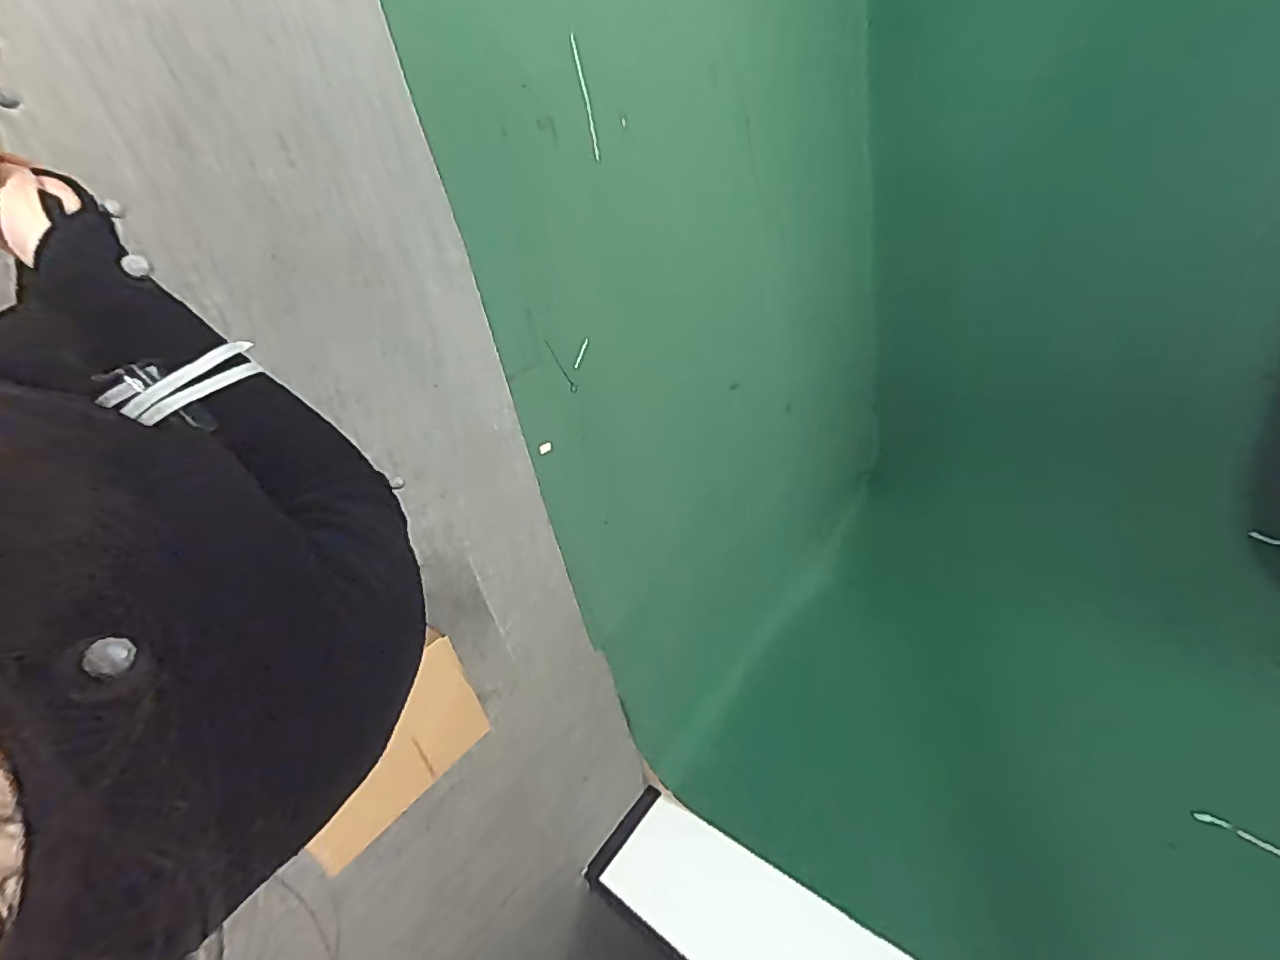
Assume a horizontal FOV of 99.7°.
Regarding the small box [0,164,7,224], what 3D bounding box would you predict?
[{"bbox_3d":[-0.513,-0.261,0.317,0.168,0.176,0.179,-9,115,-45],"label":"small box"}]
